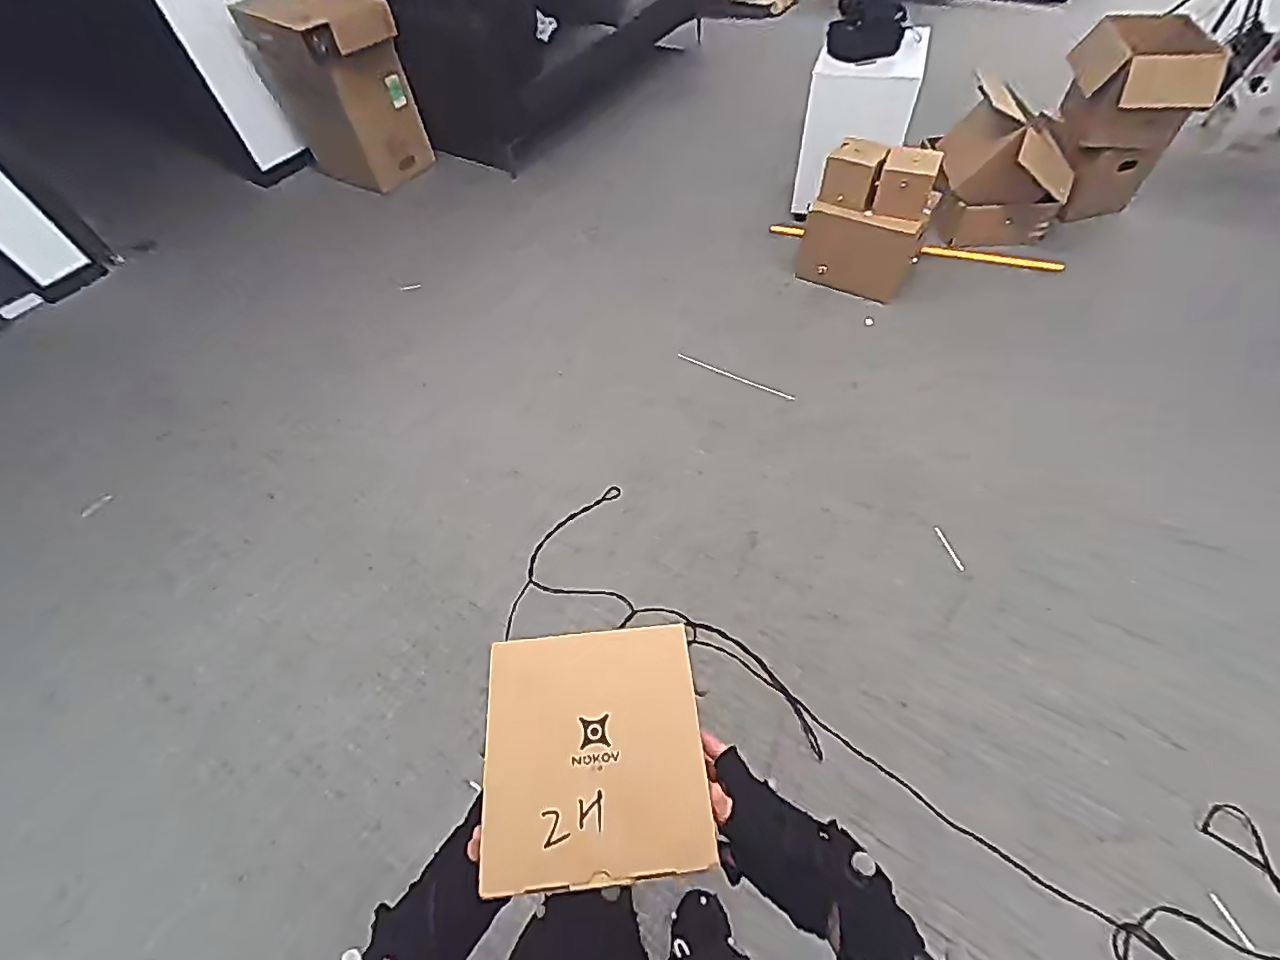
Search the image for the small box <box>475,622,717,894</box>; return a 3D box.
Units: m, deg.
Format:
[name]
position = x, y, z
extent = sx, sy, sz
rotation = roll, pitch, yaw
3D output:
[small box]
position = -0.035, 0.242, 0.473
extent = 0.168, 0.176, 0.179
rotation = -5, 56, -2
